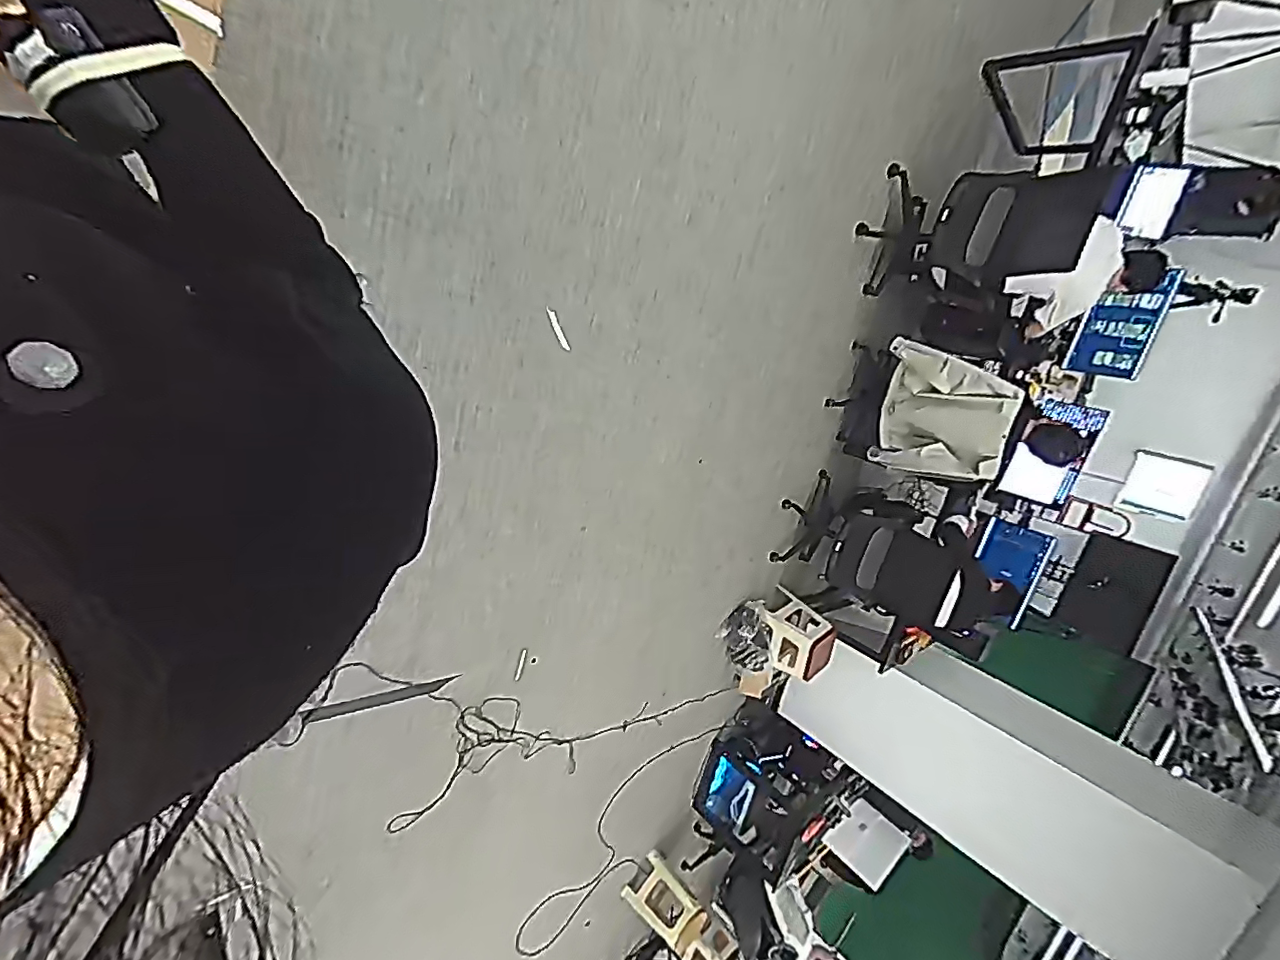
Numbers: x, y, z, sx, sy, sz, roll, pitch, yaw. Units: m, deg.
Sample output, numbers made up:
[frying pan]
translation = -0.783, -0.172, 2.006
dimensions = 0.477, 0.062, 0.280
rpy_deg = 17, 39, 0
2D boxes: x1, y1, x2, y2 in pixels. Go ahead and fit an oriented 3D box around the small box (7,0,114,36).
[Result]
[small box]
translation = -0.726, -0.656, 0.621
dimensions = 0.179, 0.176, 0.168
rpy_deg = 2, 110, -47
